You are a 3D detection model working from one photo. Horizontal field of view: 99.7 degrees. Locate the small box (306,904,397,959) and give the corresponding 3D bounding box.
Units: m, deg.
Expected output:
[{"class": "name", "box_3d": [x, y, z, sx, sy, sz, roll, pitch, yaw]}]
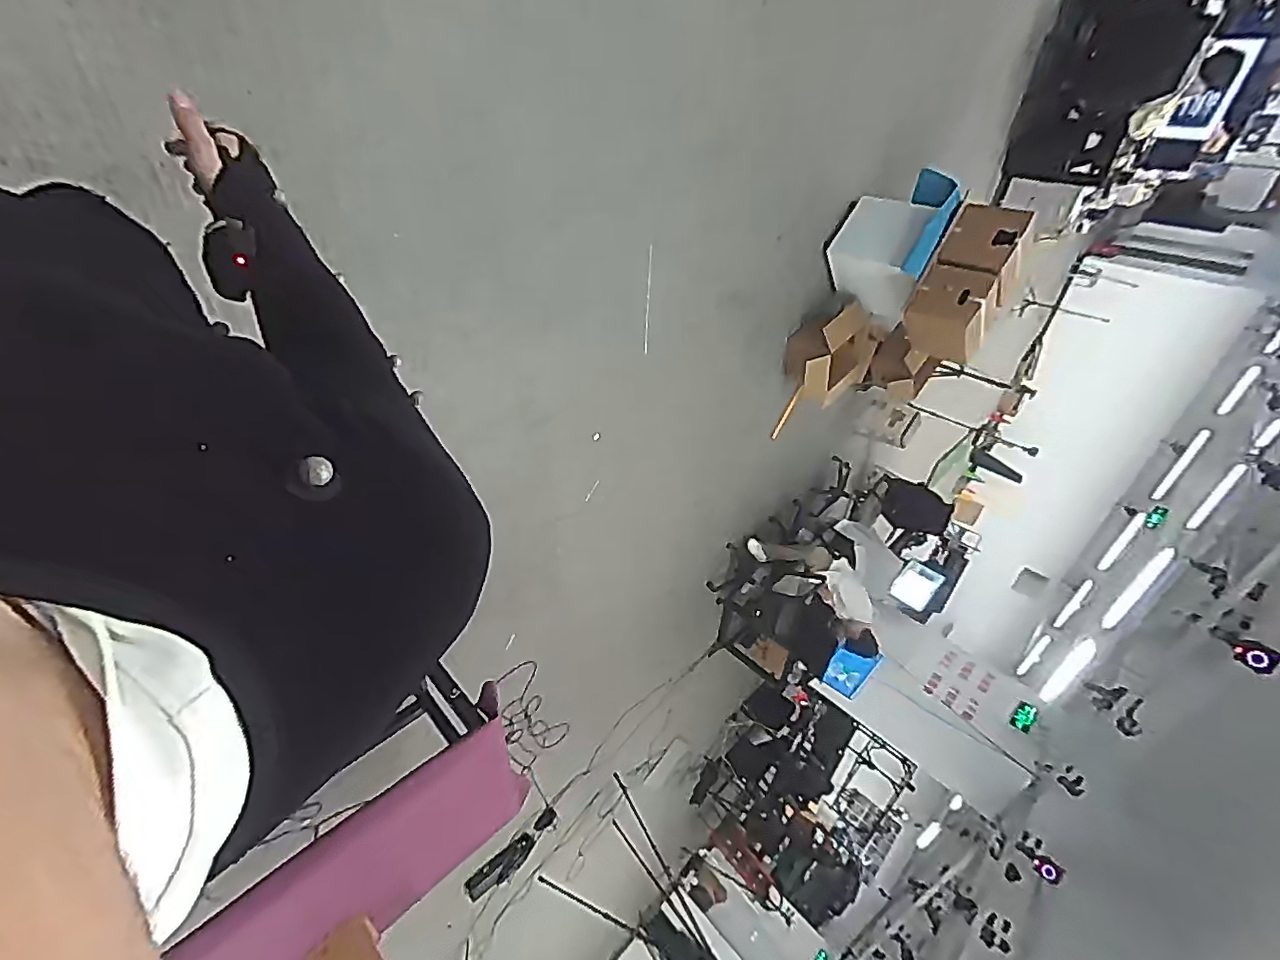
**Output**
[{"class": "small box", "box_3d": [-0.821, 1.369, 1.545, 0.168, 0.176, 0.179, -28, 137, -35]}]
